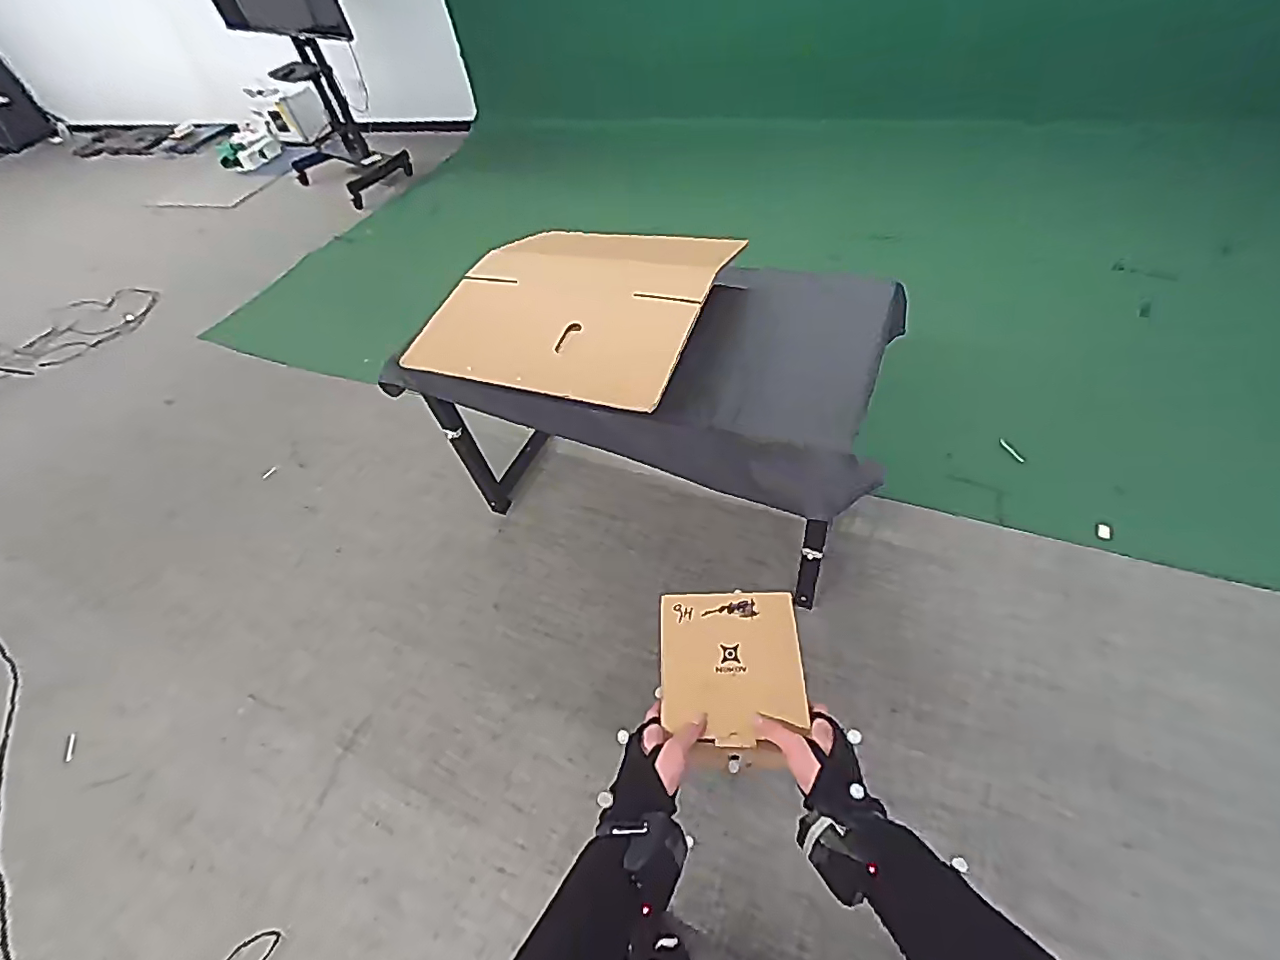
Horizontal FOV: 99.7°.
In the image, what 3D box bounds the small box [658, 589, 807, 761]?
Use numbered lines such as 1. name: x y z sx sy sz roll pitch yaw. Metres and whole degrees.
1. small box: 0.114 0.262 0.708 0.168 0.176 0.179 -5 53 5
